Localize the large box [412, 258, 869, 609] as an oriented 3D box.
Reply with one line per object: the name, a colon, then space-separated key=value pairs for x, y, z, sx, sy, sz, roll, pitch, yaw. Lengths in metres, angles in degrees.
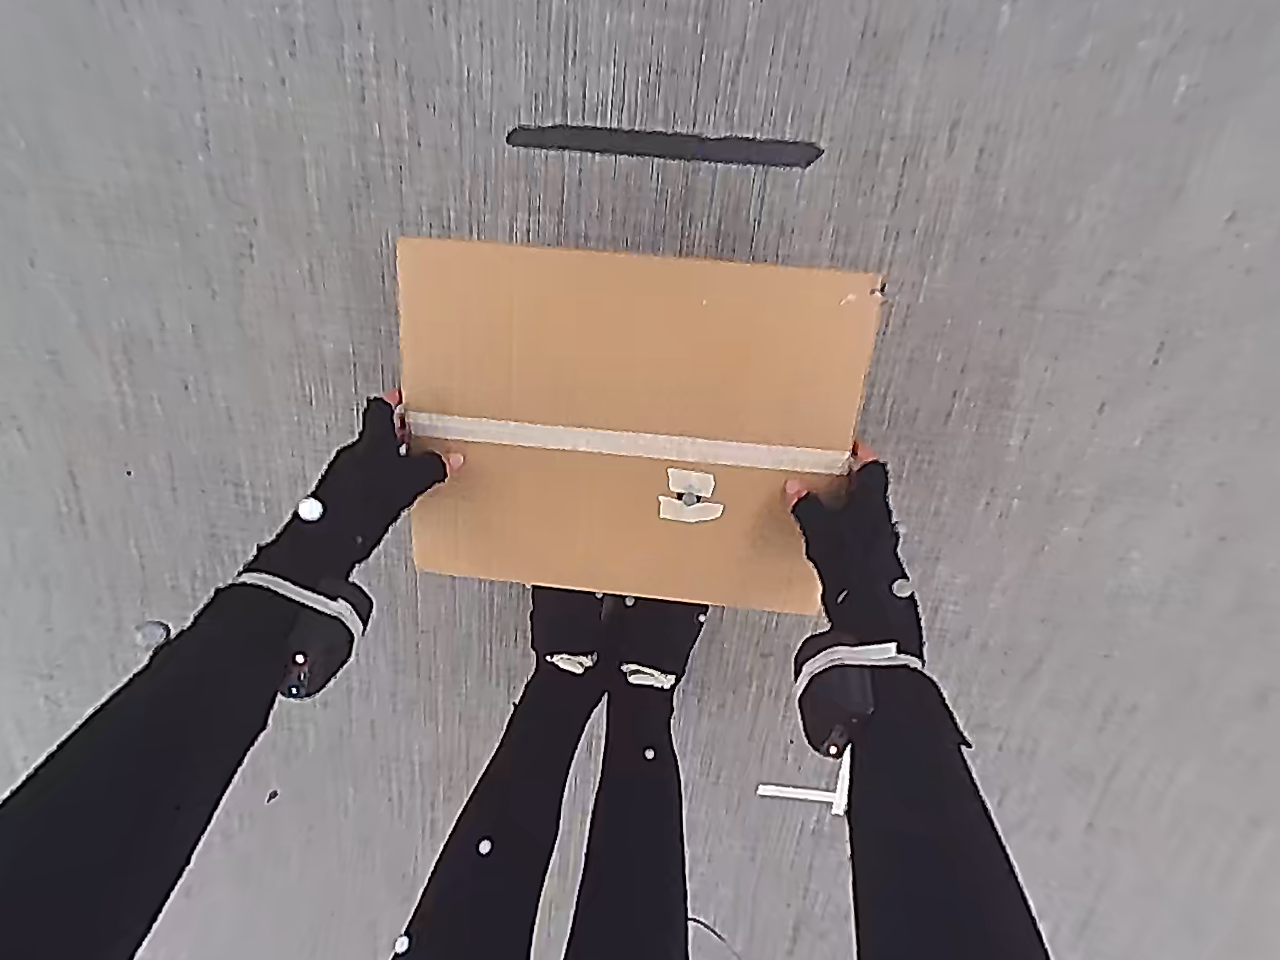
large box: x=-0.004 y=-0.073 z=0.648 sx=0.408 sy=0.320 sz=0.320 roll=5 pitch=108 yaw=3
